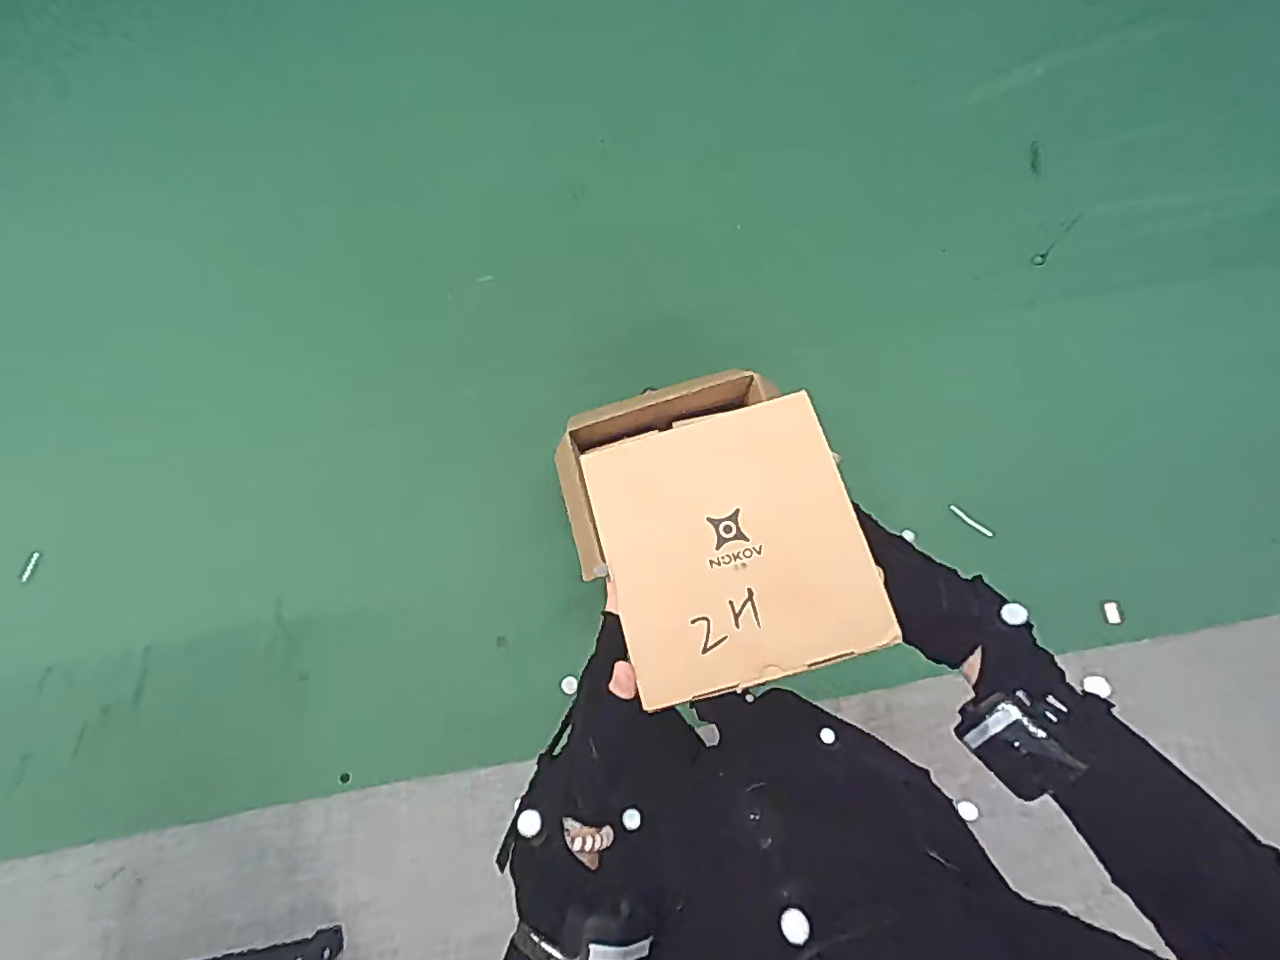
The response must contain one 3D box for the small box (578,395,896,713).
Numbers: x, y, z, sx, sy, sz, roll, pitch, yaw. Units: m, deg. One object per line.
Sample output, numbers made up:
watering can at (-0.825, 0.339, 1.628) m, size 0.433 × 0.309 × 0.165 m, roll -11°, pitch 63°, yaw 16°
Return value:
small box at (0.064, 0.063, 0.428) m, size 0.168 × 0.176 × 0.179 m, roll -17°, pitch 74°, yaw 2°
